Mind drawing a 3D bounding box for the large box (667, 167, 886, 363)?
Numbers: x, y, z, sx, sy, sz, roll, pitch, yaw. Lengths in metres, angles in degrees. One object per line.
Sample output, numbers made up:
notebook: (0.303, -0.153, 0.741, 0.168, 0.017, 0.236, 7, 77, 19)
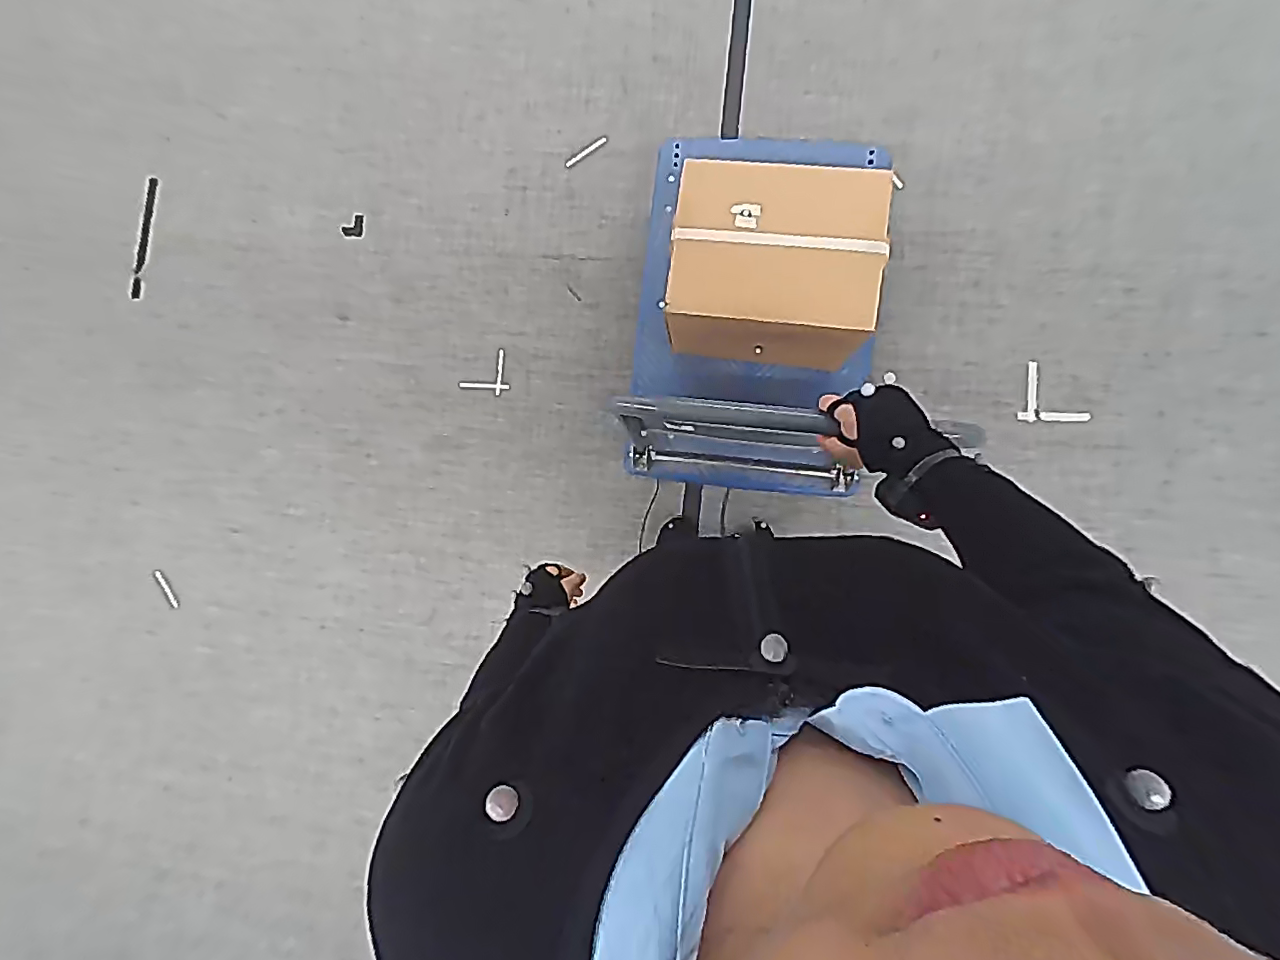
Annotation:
large box: (0.286, -0.458, 1.209, 0.408, 0.320, 0.320, 7, 87, 8)
